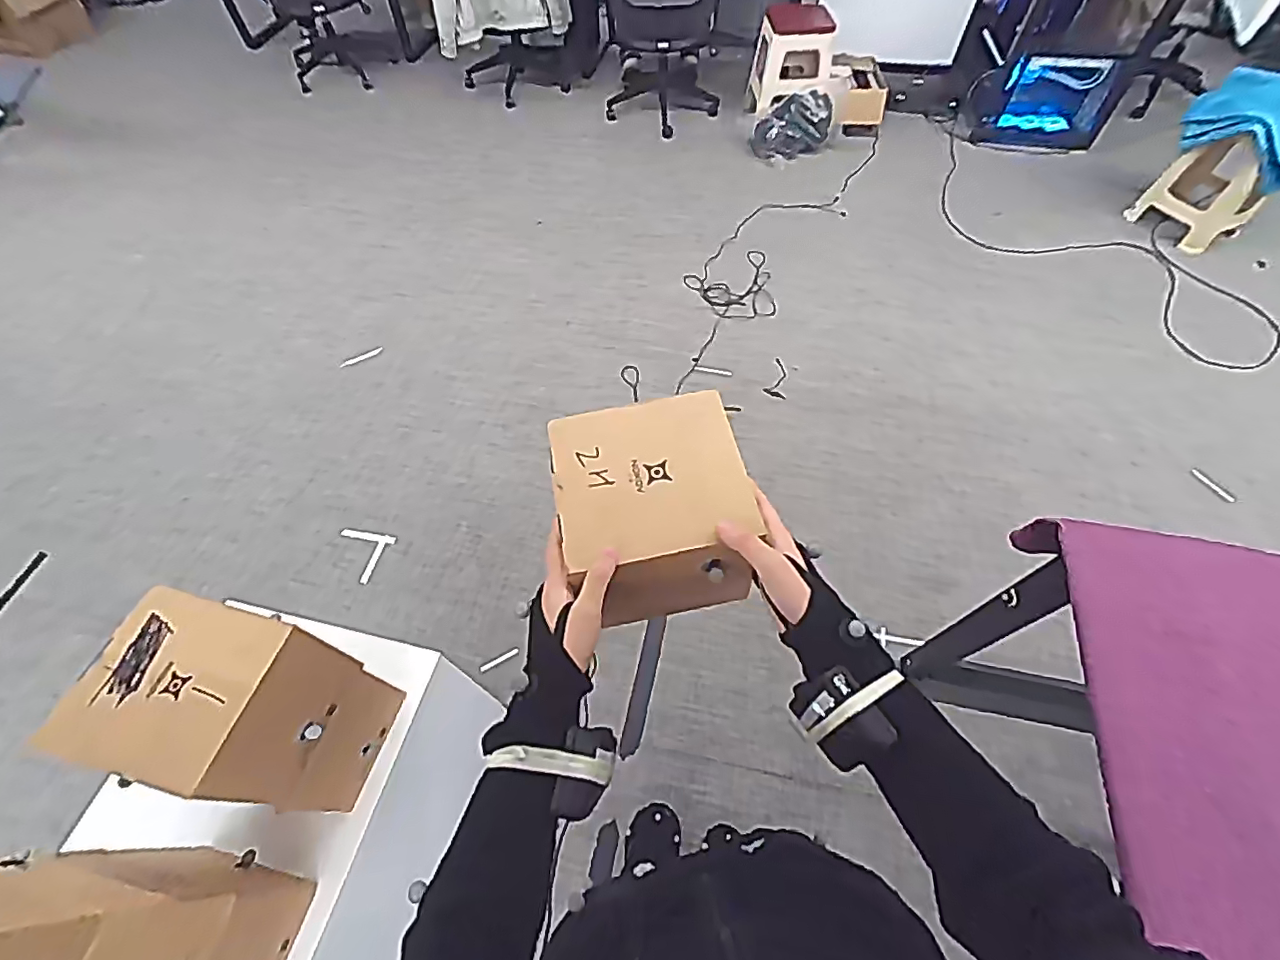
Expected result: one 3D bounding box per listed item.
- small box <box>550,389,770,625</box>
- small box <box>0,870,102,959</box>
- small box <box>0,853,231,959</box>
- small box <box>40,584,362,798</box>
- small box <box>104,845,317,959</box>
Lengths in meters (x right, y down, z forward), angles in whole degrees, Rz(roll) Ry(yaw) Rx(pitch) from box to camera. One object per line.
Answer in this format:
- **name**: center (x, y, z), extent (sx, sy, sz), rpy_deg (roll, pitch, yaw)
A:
- **small box**: center (0.015, 0.035, 0.556), extent (0.179, 0.176, 0.168), rpy_deg (-11, 59, -2)
- **small box**: center (-0.526, 0.354, 0.336), extent (0.179, 0.176, 0.168), rpy_deg (10, 59, 7)
- **small box**: center (-0.521, 0.443, 0.472), extent (0.179, 0.176, 0.168), rpy_deg (10, 58, 8)
- **small box**: center (-0.456, 0.239, 0.598), extent (0.179, 0.176, 0.168), rpy_deg (13, 59, 8)
- **small box**: center (-0.520, 0.530, 0.608), extent (0.179, 0.176, 0.168), rpy_deg (10, 59, 9)
